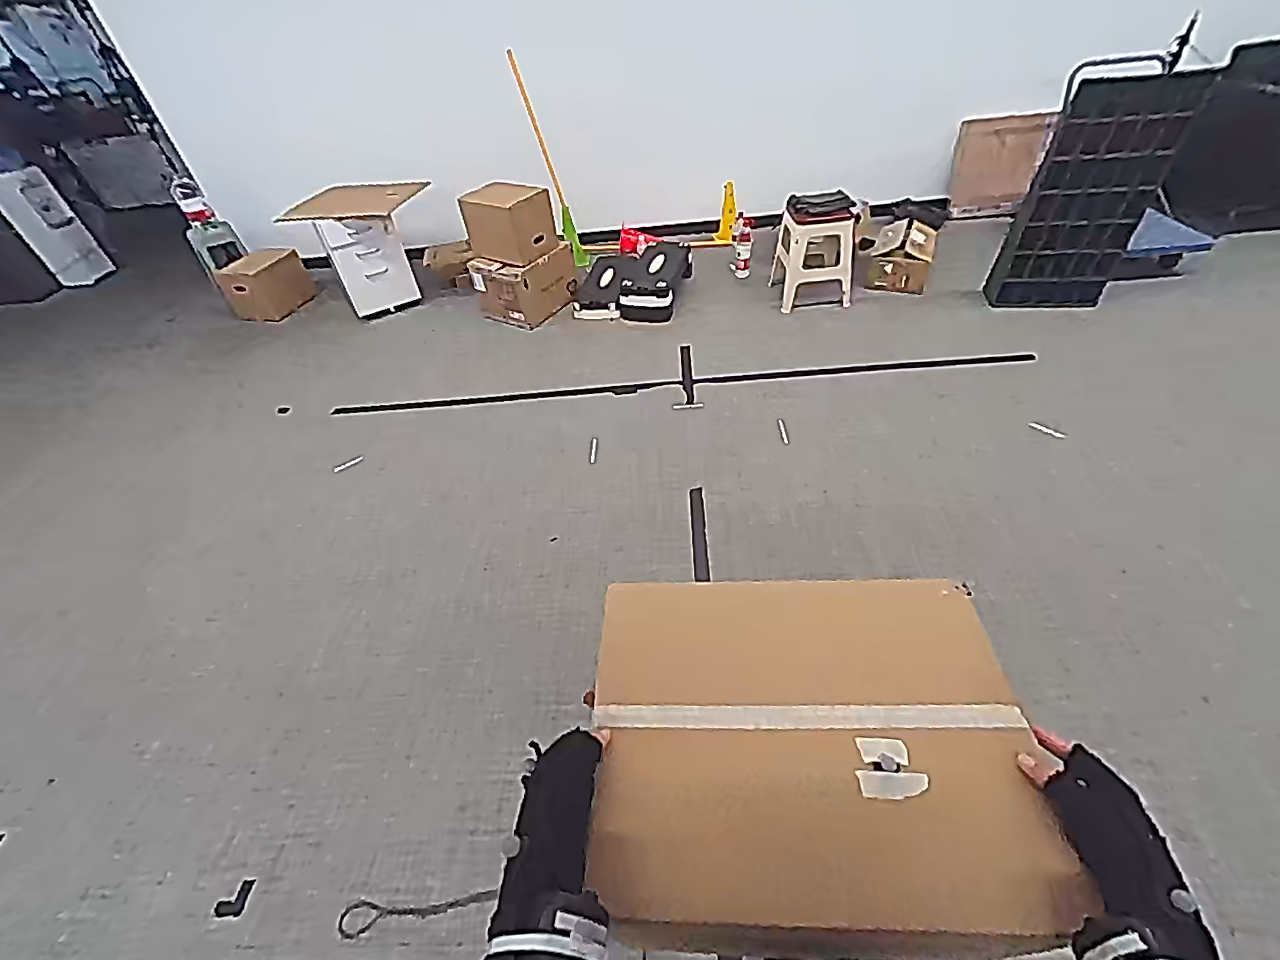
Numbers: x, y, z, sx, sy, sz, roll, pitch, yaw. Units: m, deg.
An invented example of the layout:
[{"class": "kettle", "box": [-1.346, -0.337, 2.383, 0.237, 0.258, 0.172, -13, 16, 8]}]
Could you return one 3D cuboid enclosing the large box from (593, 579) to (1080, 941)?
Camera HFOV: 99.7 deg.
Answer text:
[{"class": "large box", "box": [0.169, 0.338, 0.651, 0.408, 0.320, 0.320, -2, 46, 5]}]
